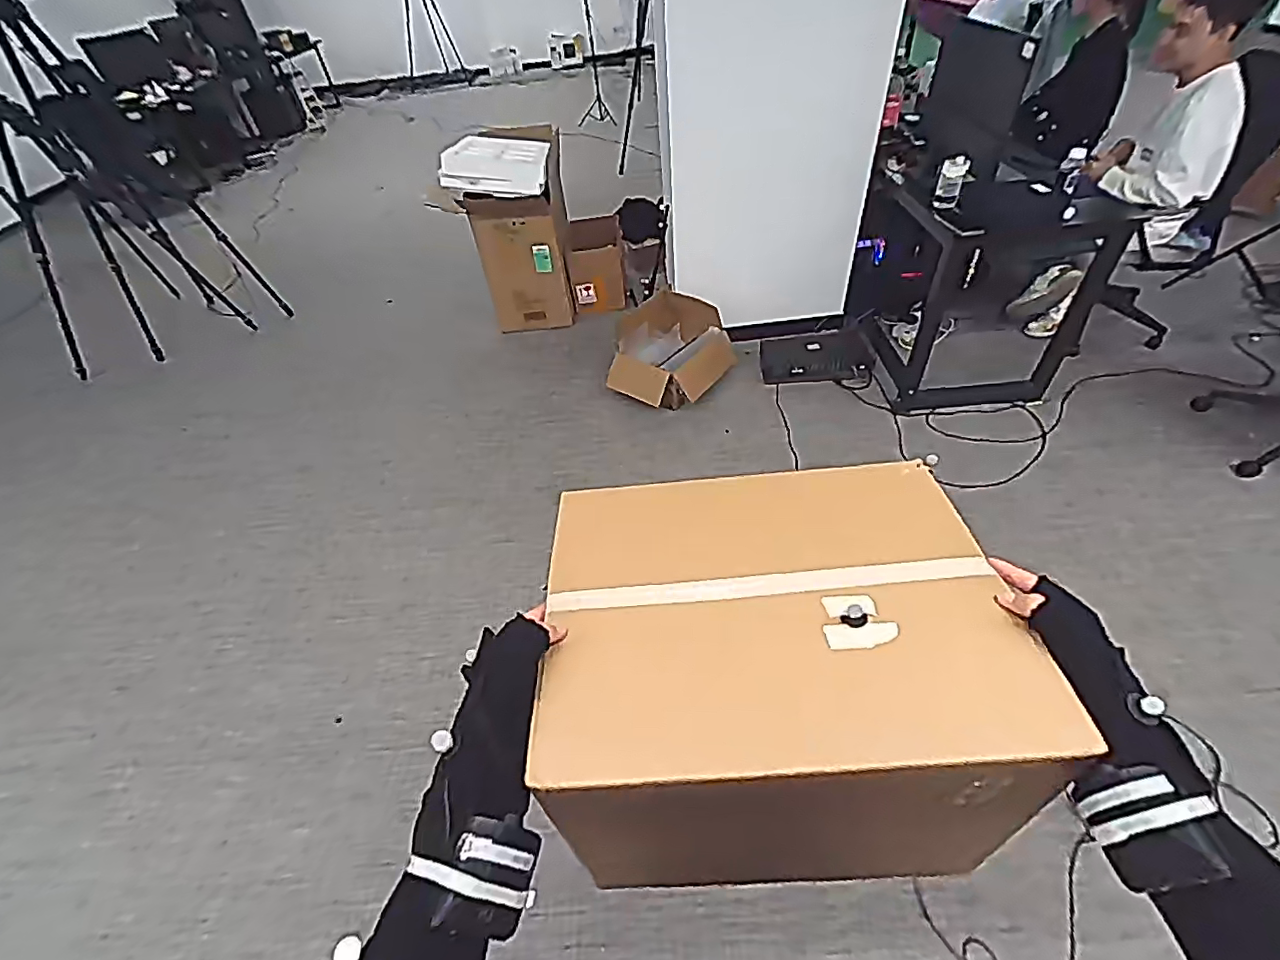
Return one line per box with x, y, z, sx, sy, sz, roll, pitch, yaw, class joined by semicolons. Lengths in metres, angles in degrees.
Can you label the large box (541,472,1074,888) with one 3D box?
0.130;0.221;0.607;0.408;0.320;0.320;-5;41;3;large box
